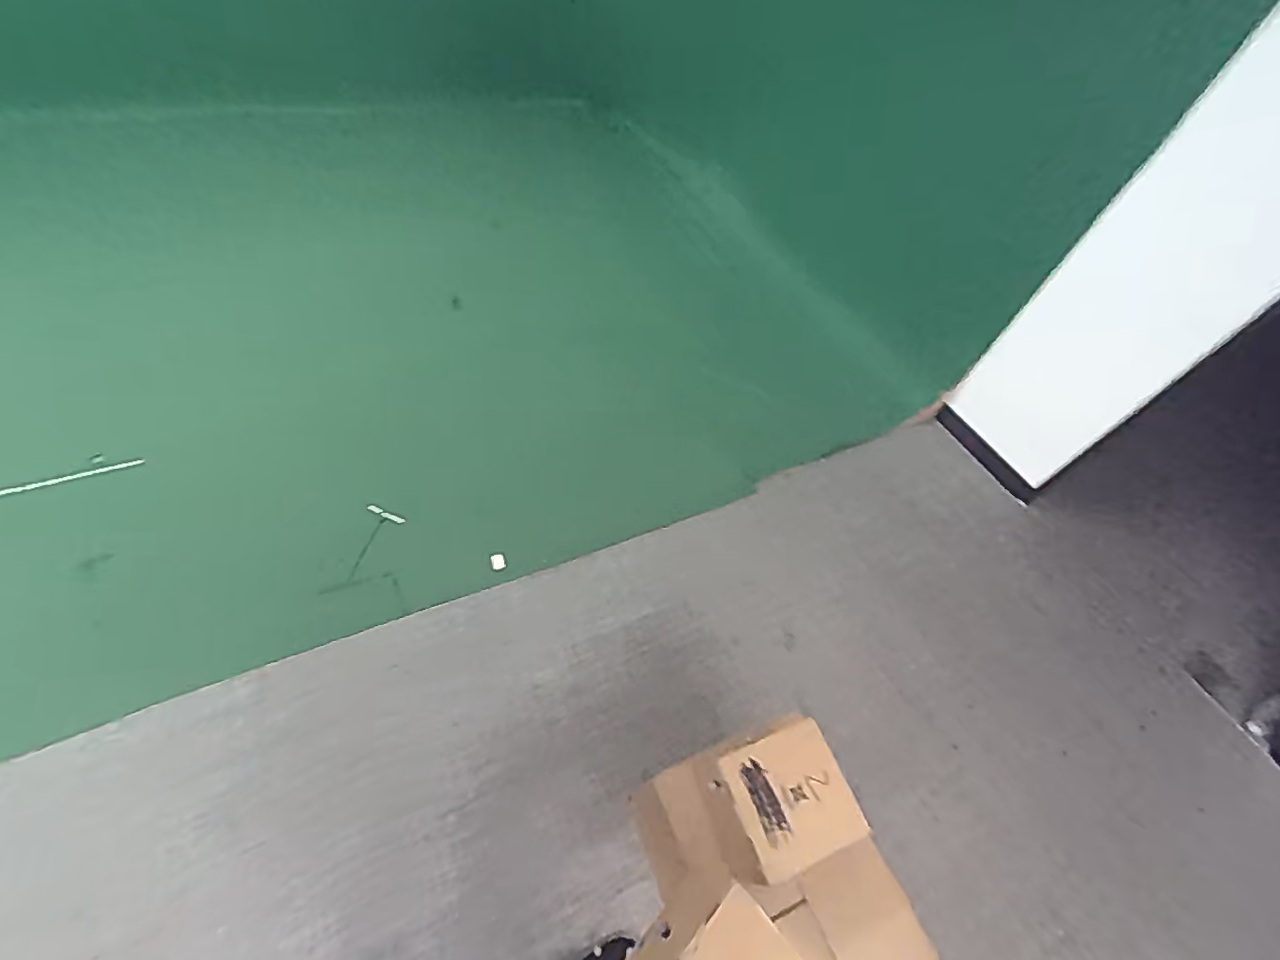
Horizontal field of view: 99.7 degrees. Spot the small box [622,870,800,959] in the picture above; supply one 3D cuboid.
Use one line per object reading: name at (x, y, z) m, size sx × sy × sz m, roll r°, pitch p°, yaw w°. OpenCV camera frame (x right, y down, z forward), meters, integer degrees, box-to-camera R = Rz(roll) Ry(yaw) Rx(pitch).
small box at (0.085, 0.609, 0.640) m, size 0.168 × 0.176 × 0.179 m, roll -34°, pitch 71°, yaw -34°
